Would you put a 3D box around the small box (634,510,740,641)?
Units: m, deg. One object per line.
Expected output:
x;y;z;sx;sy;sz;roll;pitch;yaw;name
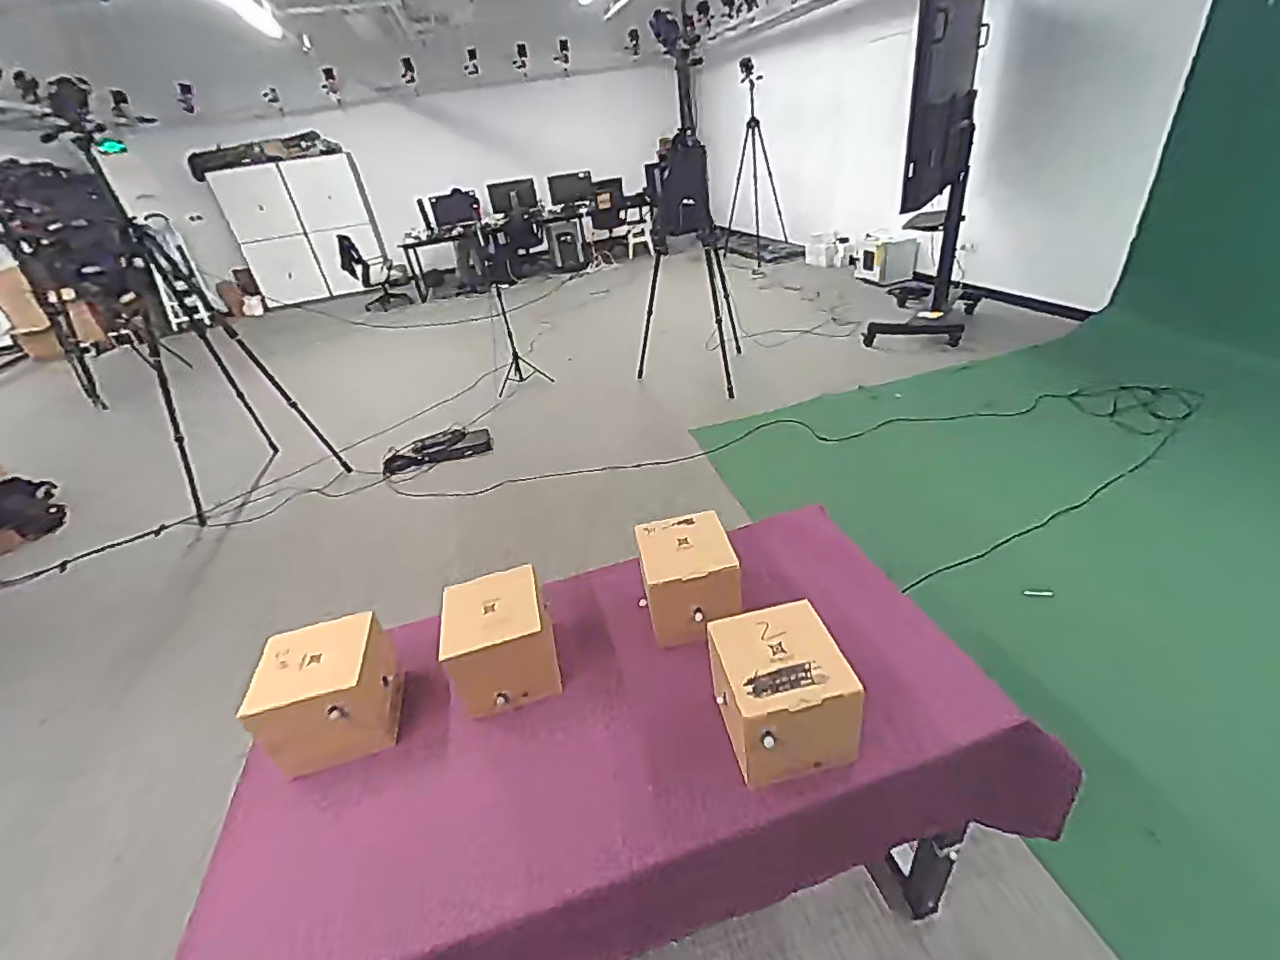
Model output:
0.091;0.188;1.040;0.168;0.176;0.179;-11;33;-3;small box

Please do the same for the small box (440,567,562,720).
-0.246;0.291;0.975;0.168;0.176;0.179;-15;33;-7;small box

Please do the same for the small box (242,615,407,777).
-0.519;0.368;0.925;0.179;0.176;0.168;-14;32;-8;small box
